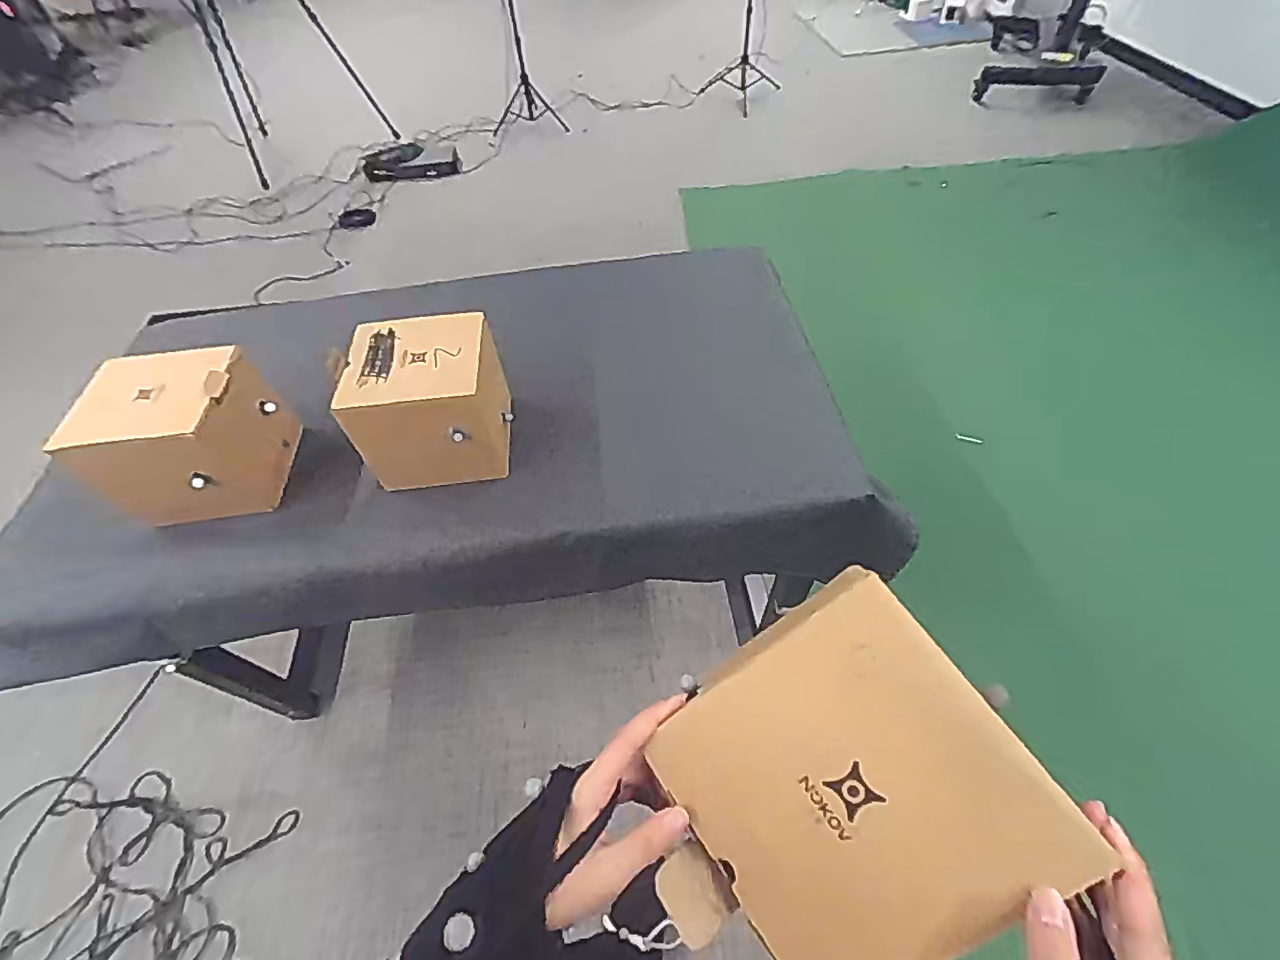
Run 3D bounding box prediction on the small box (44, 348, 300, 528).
[{"bbox_3d":[-0.606,-0.053,0.735,0.179,0.176,0.168,-8,52,-2],"label":"small box"}]
